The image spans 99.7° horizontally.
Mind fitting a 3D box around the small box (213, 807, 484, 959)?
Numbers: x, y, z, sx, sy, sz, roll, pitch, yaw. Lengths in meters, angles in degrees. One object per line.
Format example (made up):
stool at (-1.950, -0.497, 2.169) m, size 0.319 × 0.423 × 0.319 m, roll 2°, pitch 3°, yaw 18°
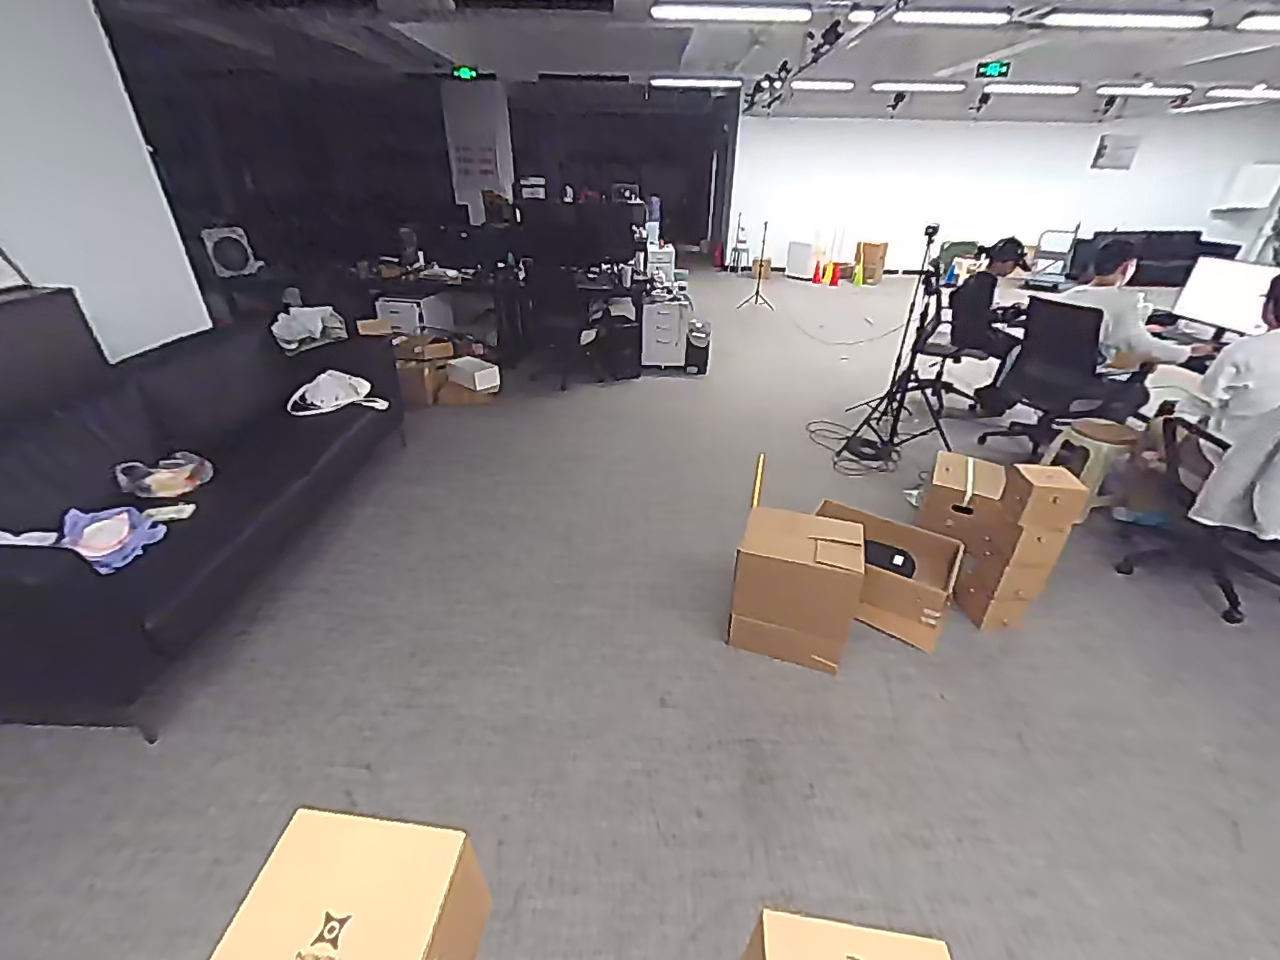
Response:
small box at (-0.248, 0.430, 0.478) m, size 0.168 × 0.176 × 0.179 m, roll 6°, pitch 37°, yaw 5°
